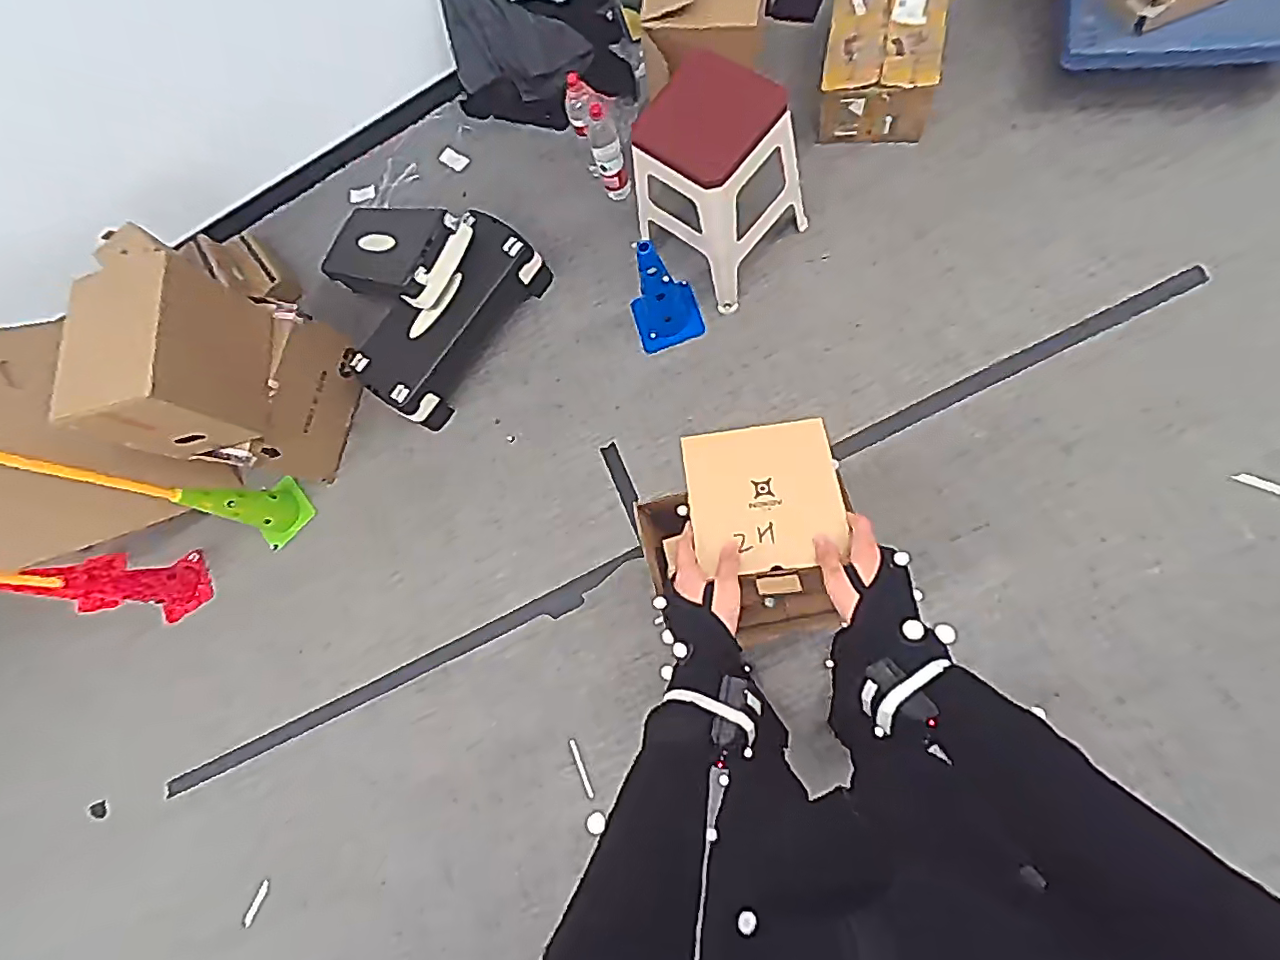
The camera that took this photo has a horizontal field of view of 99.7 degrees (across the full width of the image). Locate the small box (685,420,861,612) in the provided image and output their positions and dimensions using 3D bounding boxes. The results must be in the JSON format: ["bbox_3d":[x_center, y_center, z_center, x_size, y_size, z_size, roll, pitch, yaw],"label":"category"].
[{"bbox_3d":[0.148,0.052,0.659,0.168,0.176,0.179,-8,66,6],"label":"small box"}]
